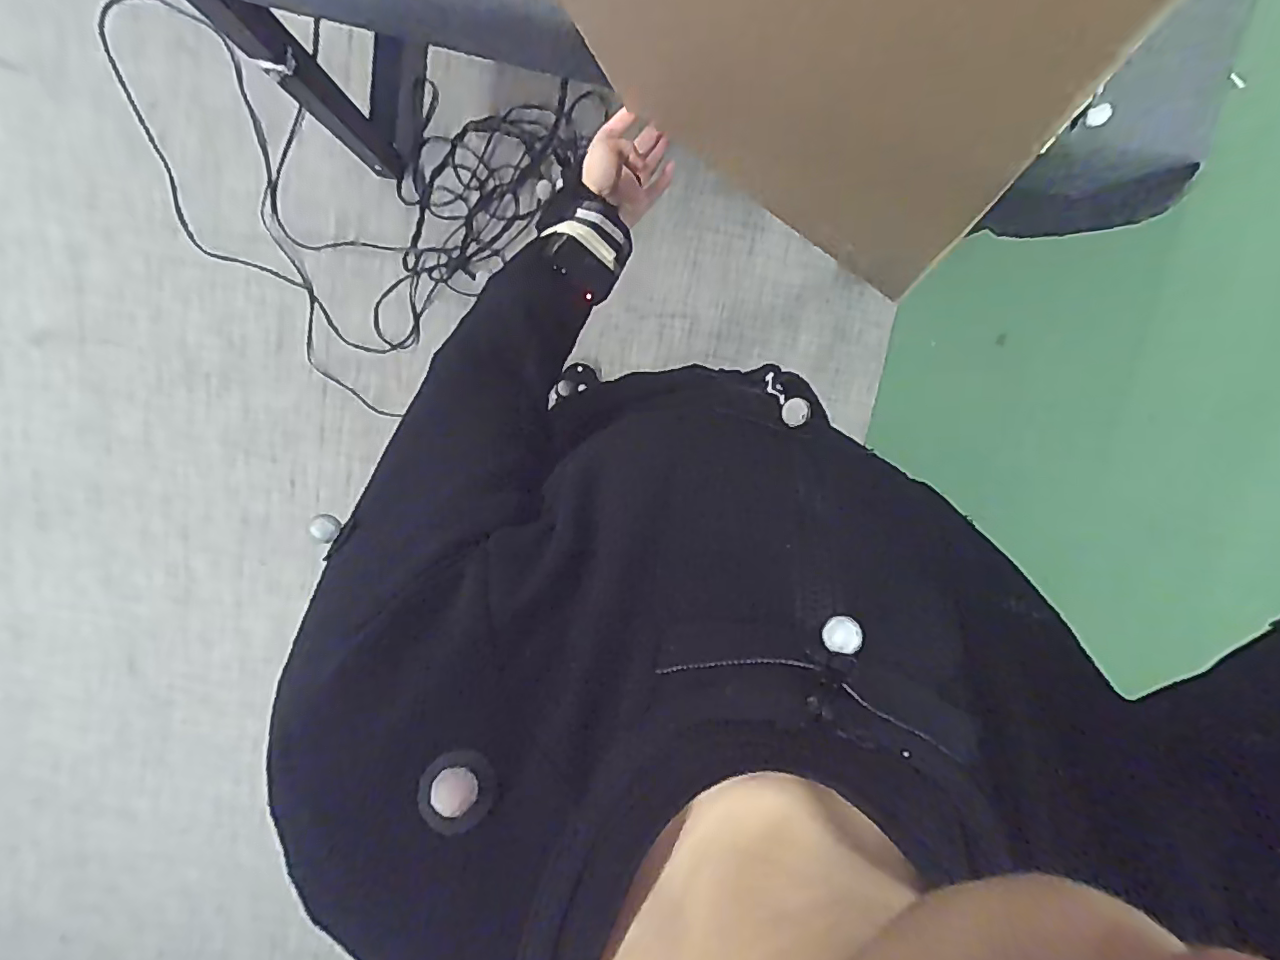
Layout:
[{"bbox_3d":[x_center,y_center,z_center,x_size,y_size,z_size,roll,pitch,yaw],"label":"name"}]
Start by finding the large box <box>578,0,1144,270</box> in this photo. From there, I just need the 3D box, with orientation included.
[{"bbox_3d":[0.135,-0.355,0.259,0.320,0.408,0.320,39,108,7],"label":"large box"}]
